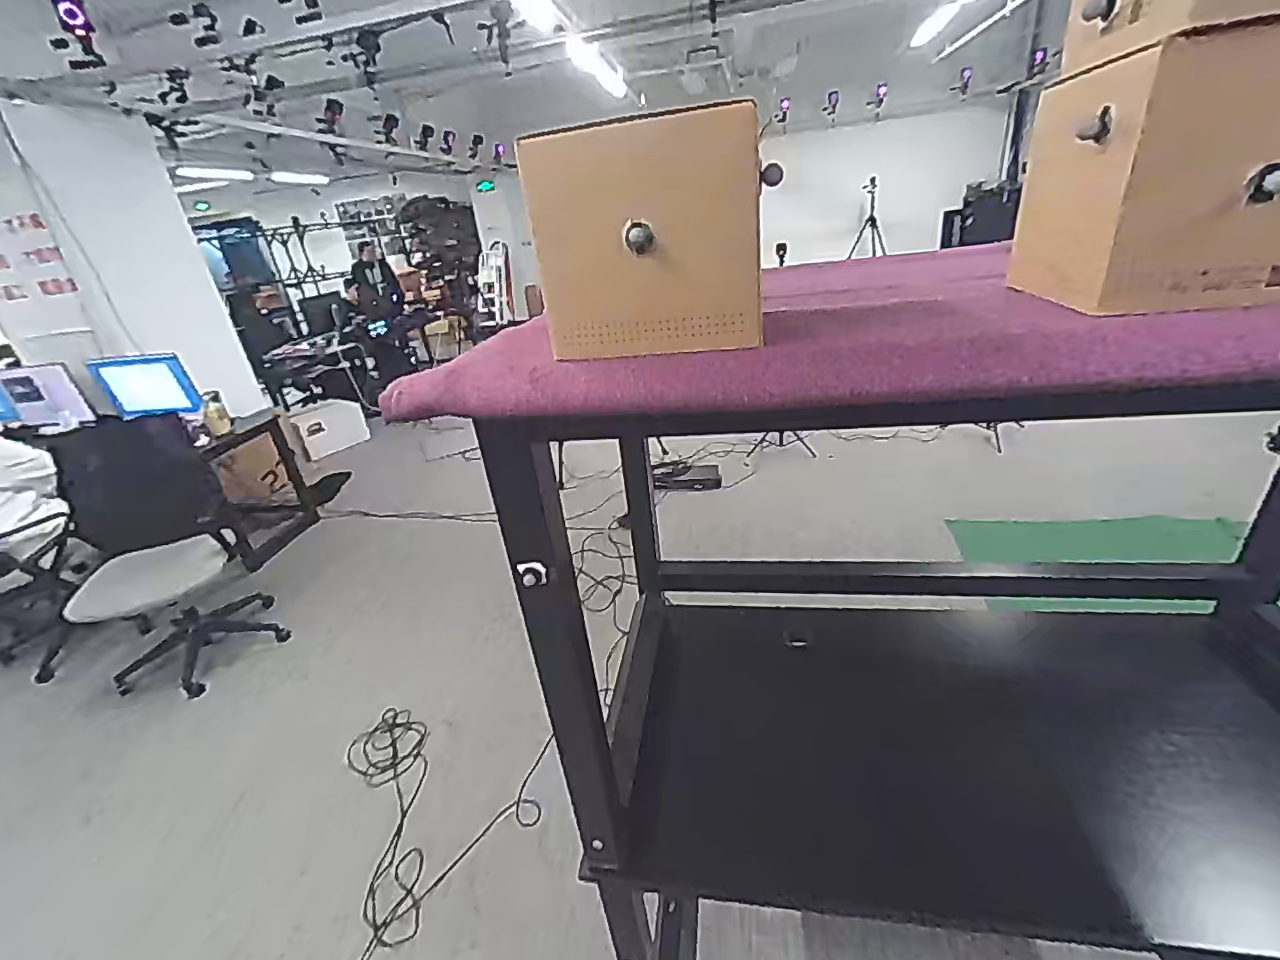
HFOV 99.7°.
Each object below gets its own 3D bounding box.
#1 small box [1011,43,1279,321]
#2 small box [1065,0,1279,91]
[{"bbox_3d":[0.423,-0.221,0.420,0.168,0.176,0.179,1,27,13],"label":"small box"},{"bbox_3d":[0.414,-0.361,0.336,0.179,0.176,0.168,-1,26,14],"label":"small box"}]
